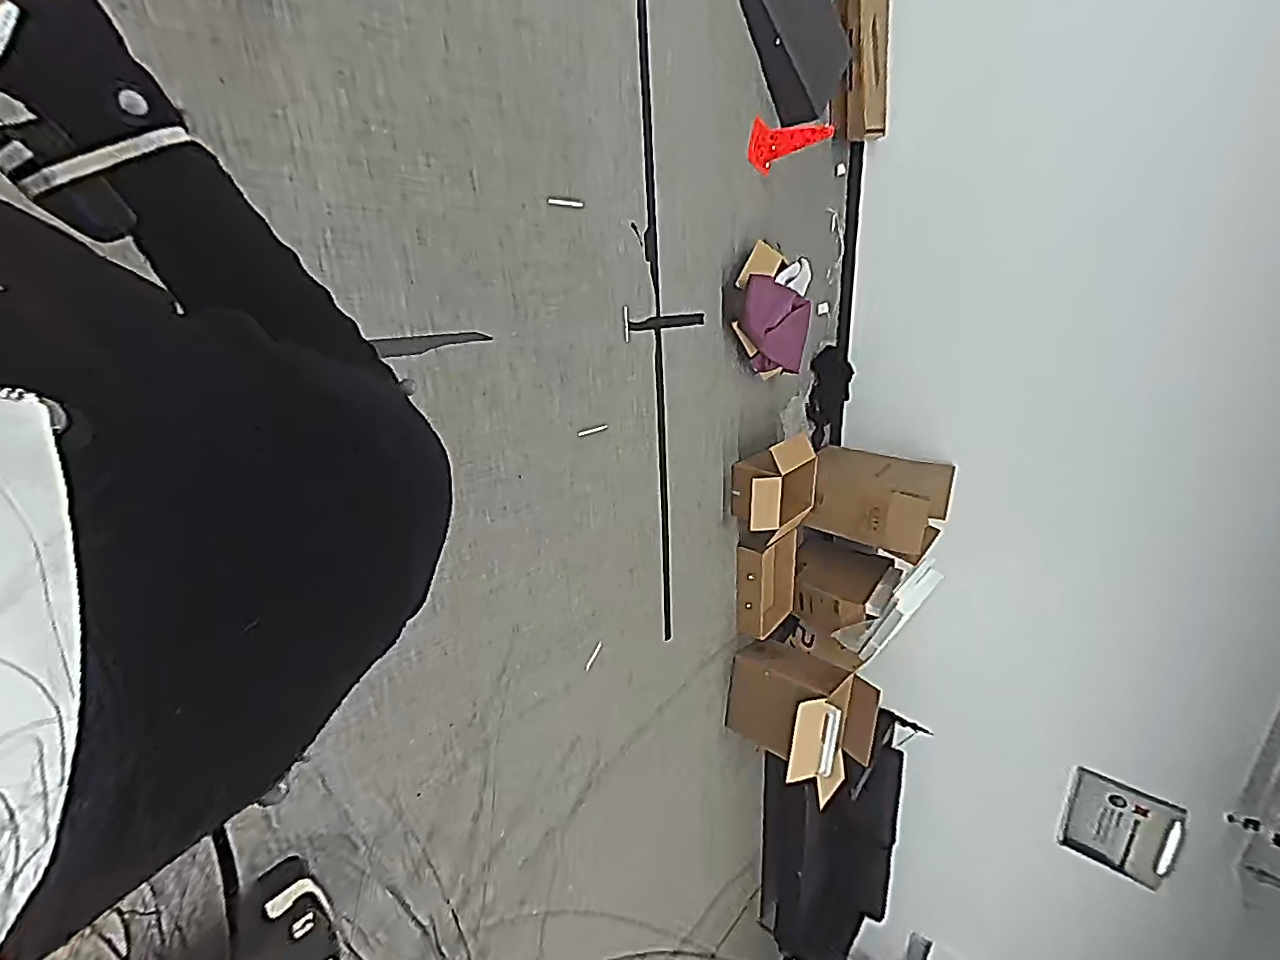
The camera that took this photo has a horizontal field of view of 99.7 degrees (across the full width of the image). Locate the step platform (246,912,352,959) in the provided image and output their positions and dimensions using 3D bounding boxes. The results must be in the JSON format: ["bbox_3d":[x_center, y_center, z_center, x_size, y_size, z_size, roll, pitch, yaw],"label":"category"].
[{"bbox_3d":[-0.977,1.336,1.164,0.684,0.204,0.286,-25,120,-43],"label":"step platform"}]
